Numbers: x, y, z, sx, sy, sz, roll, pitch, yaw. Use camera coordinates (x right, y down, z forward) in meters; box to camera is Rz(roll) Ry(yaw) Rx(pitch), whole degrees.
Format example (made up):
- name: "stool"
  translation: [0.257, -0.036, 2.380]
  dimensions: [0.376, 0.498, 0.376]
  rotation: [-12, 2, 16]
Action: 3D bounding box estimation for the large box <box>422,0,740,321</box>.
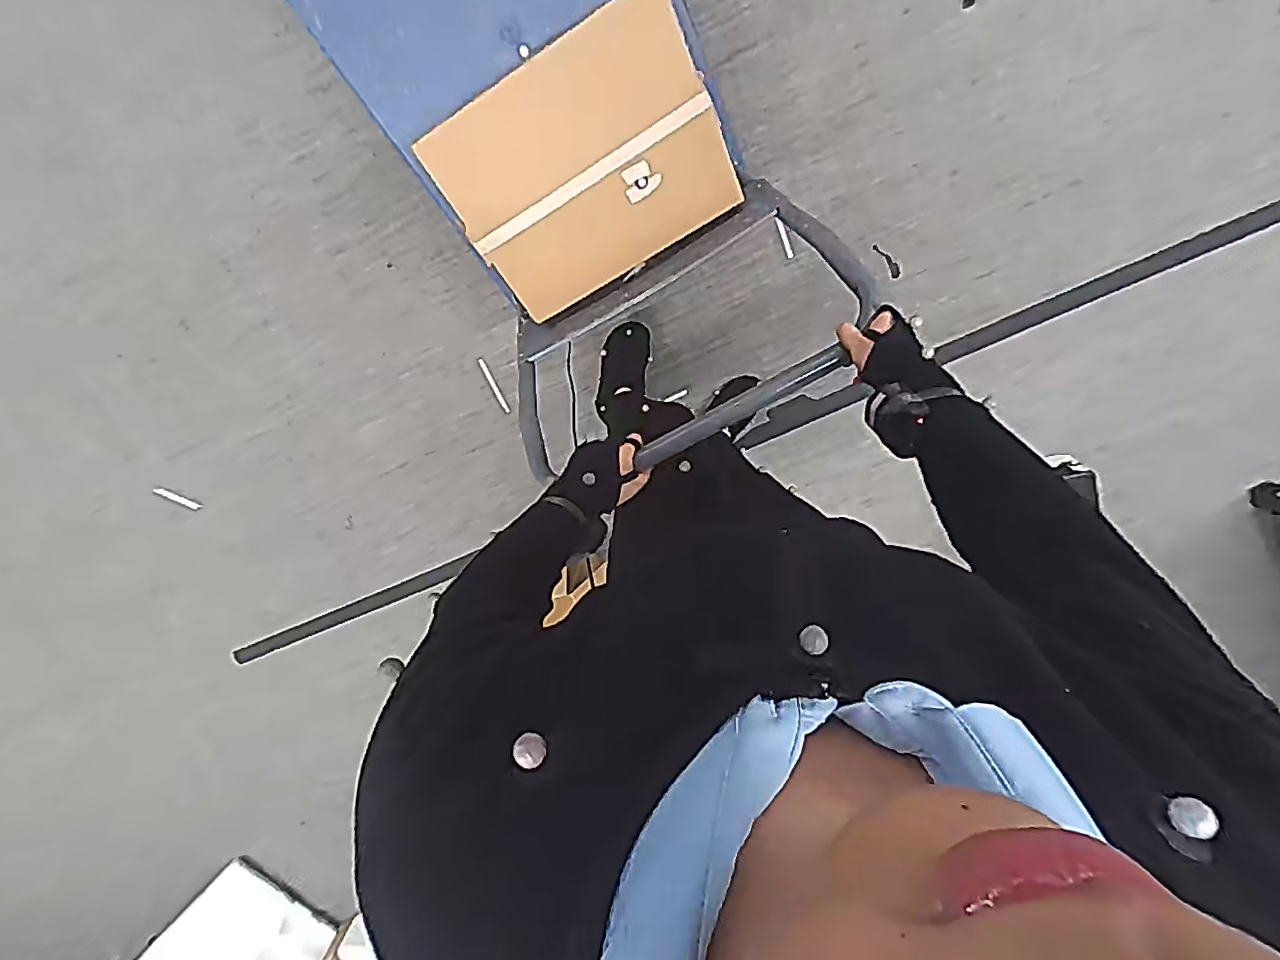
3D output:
- name: "large box"
  translation: [-0.100, -0.558, 0.944]
  dimensions: [0.408, 0.320, 0.320]
  rotation: [-28, 129, 11]
